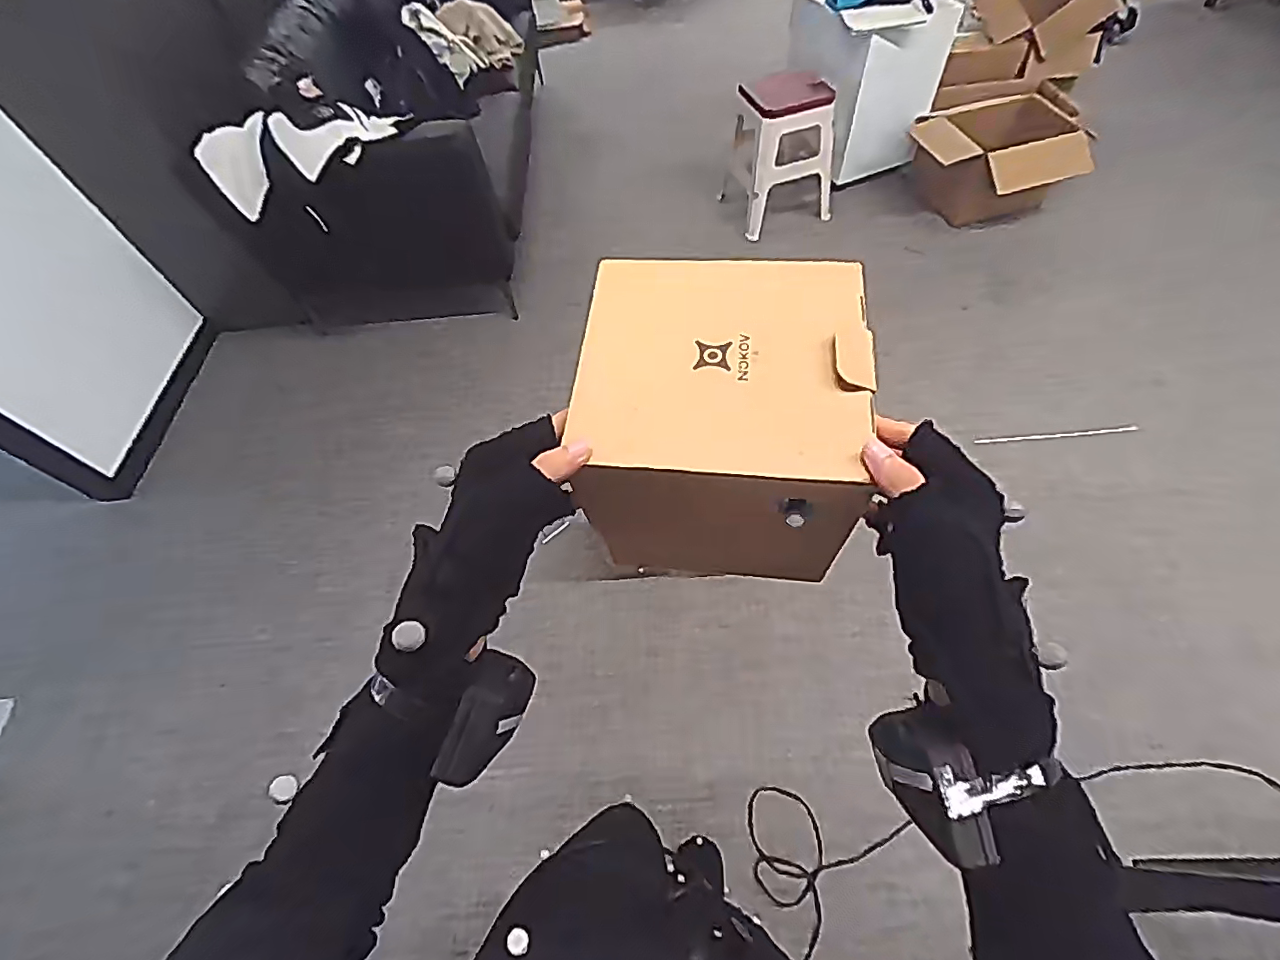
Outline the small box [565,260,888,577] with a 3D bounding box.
[{"bbox_3d":[0.060,-0.036,0.396,0.179,0.176,0.168,3,62,8],"label":"small box"}]
